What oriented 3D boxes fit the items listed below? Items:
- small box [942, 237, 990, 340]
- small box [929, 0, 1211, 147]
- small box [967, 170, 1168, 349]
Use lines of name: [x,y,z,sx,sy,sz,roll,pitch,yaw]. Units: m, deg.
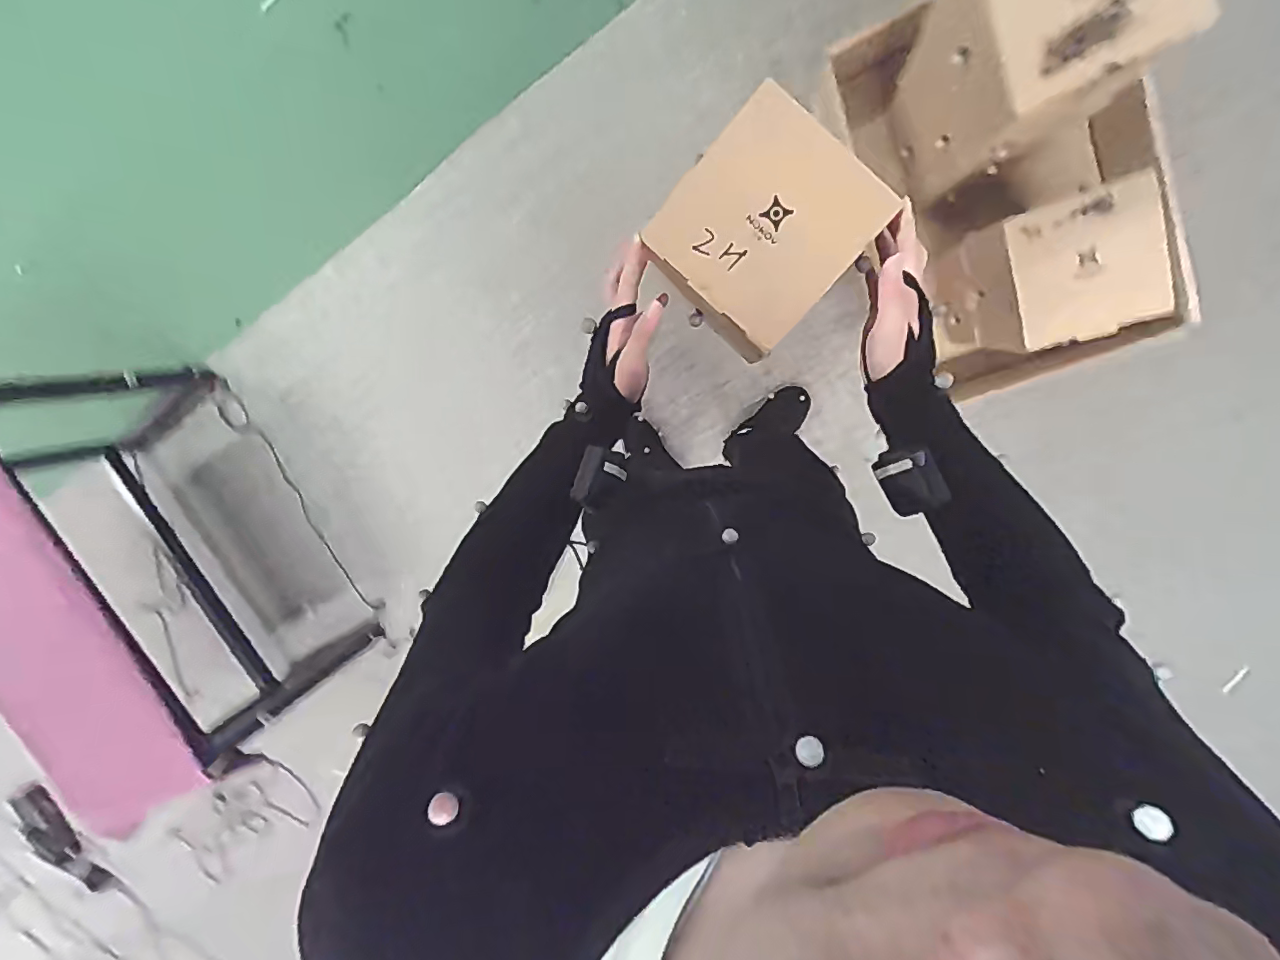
small box: [0.629,-0.341,0.911,0.179,0.176,0.168,-13,102,19]
small box: [0.431,-0.486,0.572,0.168,0.176,0.179,-19,100,19]
small box: [0.585,-0.298,0.760,0.168,0.176,0.179,-14,102,19]
